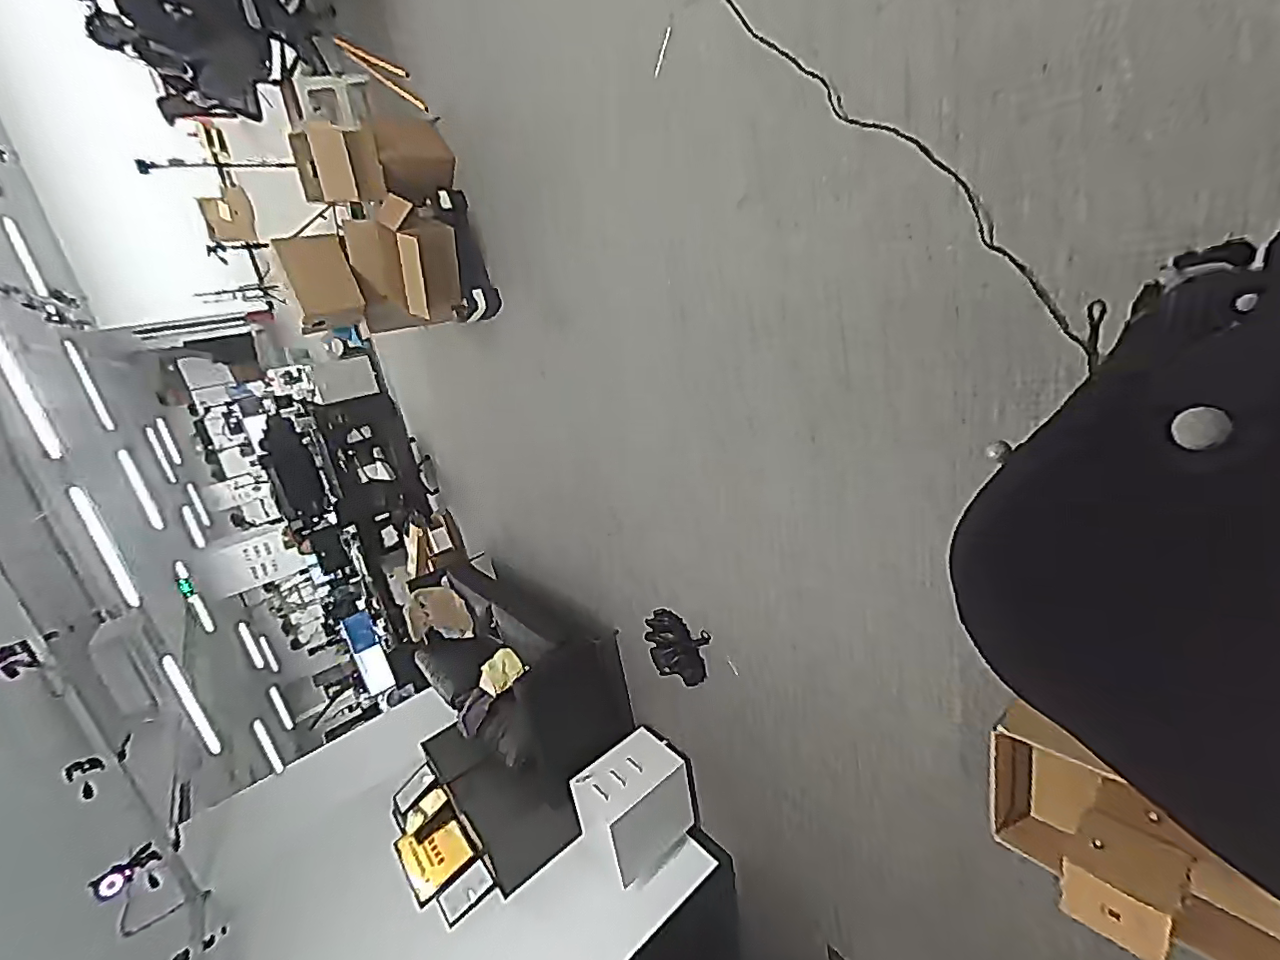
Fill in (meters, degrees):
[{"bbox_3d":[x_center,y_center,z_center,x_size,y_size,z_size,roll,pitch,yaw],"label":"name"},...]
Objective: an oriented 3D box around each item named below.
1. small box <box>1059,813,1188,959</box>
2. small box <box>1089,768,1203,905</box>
[{"bbox_3d":[1.042,0.866,1.167,0.179,0.176,0.168,6,115,53],"label":"small box"},{"bbox_3d":[1.185,0.821,1.269,0.179,0.176,0.168,8,118,52],"label":"small box"}]
